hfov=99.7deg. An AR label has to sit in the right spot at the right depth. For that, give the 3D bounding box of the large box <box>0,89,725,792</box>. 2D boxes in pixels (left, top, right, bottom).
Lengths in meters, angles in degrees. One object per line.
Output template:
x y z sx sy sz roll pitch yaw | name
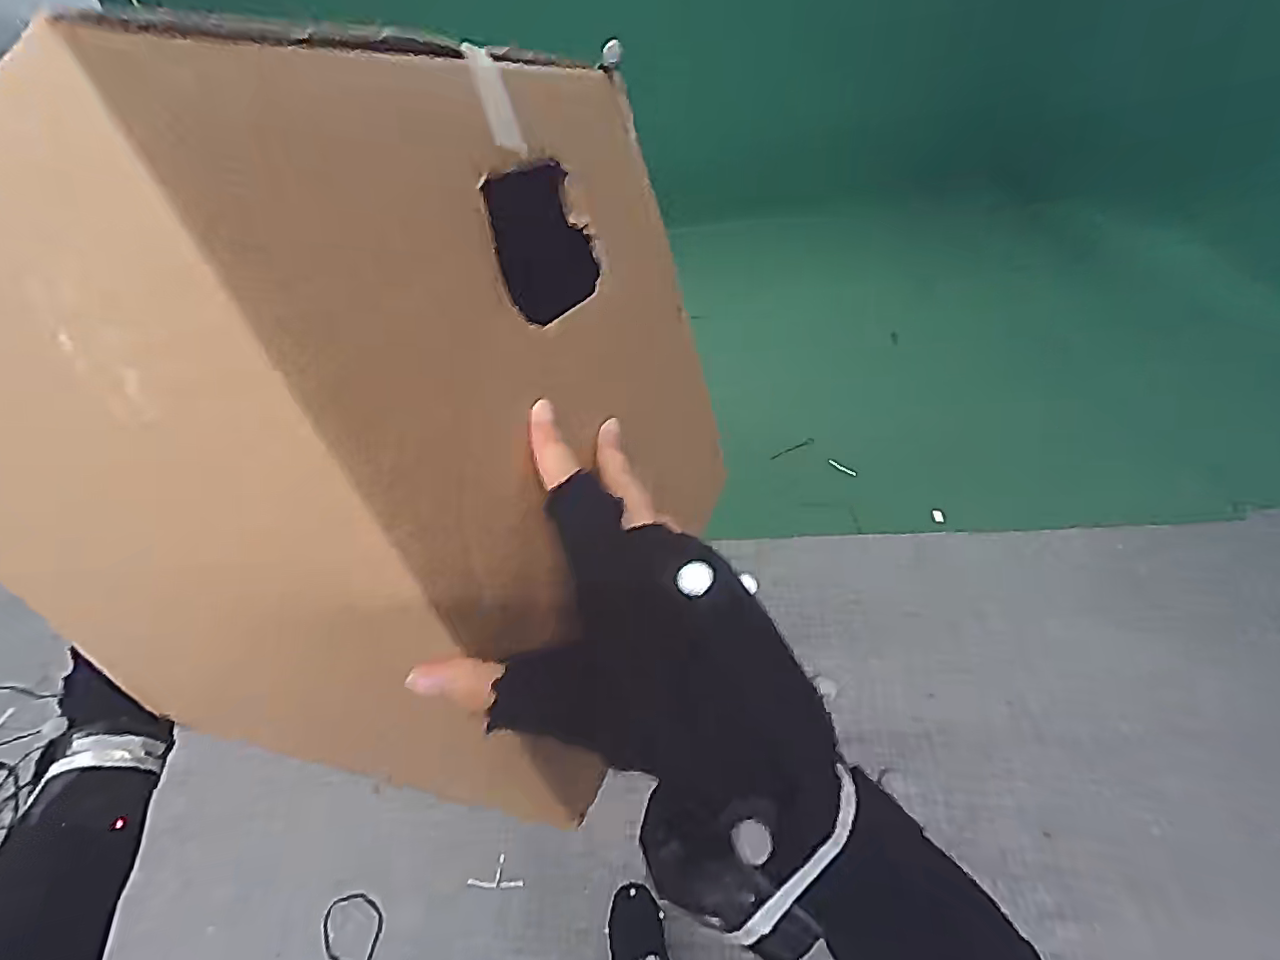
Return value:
-0.190 -0.031 0.404 0.408 0.320 0.320 -4 31 27 | large box
